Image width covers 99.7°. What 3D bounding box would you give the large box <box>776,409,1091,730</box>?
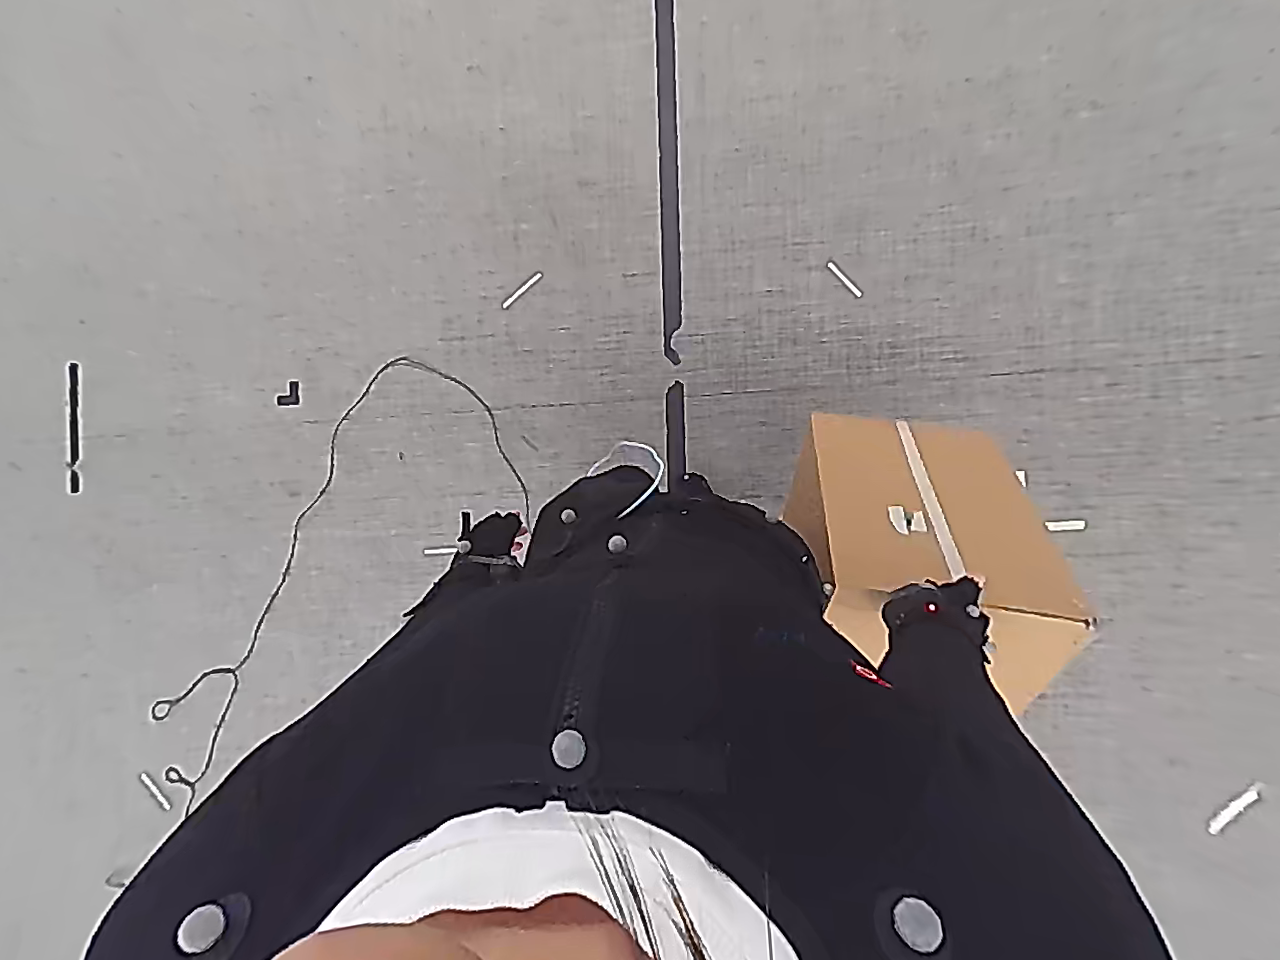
[{"bbox_3d":[0.415,0.132,0.902,0.320,0.408,0.320,6,132,7],"label":"large box"}]
